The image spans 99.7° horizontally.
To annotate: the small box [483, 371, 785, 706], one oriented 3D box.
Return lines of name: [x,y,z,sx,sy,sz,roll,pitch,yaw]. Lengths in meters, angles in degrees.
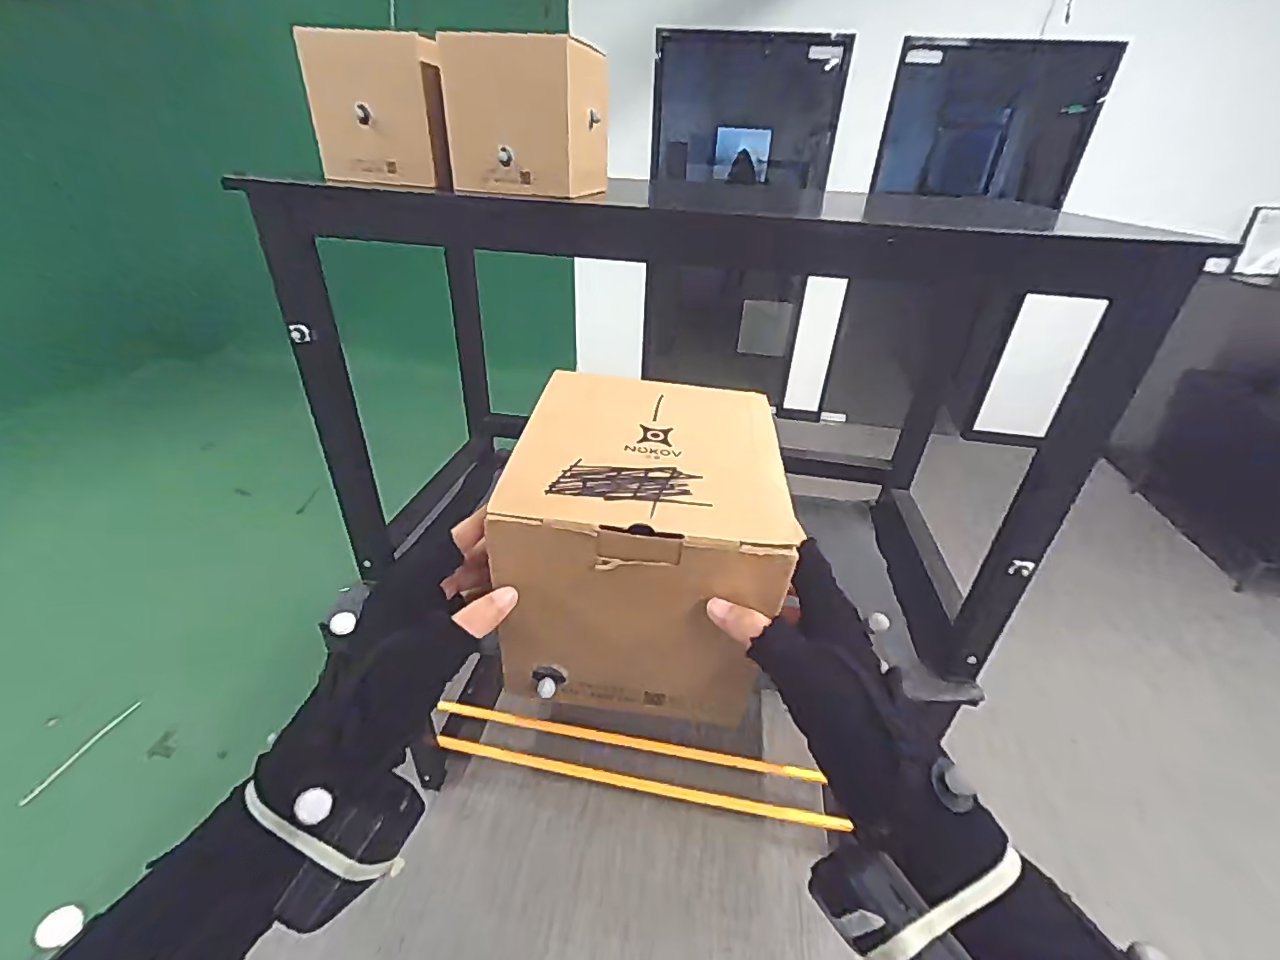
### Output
small box: [-0.001,0.039,0.399,0.168,0.176,0.179,7,36,2]

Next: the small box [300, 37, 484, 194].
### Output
small box: [-0.337,-0.515,0.779,0.168,0.176,0.179,9,31,7]
